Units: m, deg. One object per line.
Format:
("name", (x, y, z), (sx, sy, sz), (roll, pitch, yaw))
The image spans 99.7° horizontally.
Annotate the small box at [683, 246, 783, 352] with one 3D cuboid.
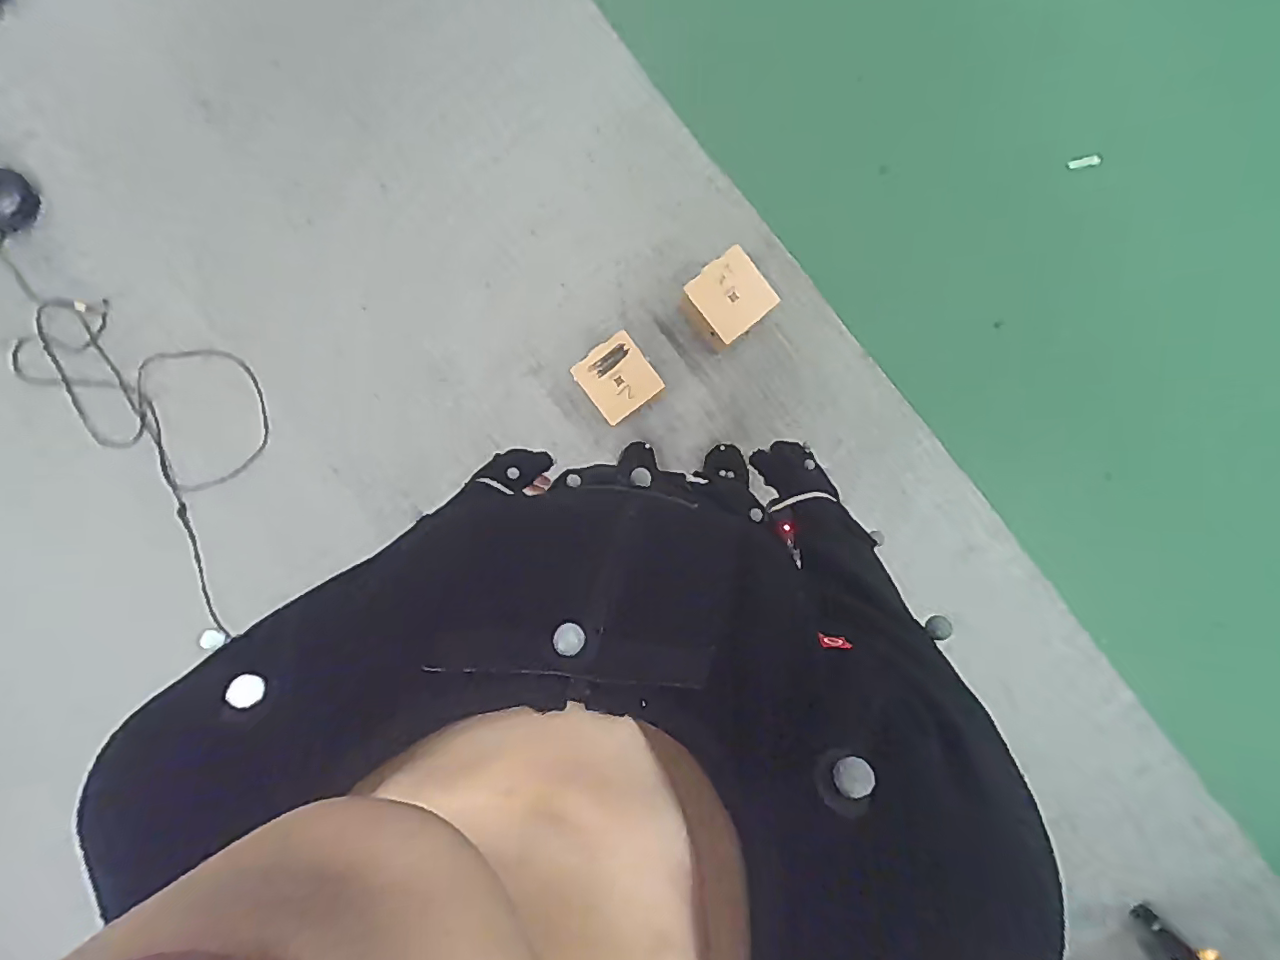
("small box", (0.223, -0.436, 1.343), (0.168, 0.176, 0.179), (-39, 92, 5))
